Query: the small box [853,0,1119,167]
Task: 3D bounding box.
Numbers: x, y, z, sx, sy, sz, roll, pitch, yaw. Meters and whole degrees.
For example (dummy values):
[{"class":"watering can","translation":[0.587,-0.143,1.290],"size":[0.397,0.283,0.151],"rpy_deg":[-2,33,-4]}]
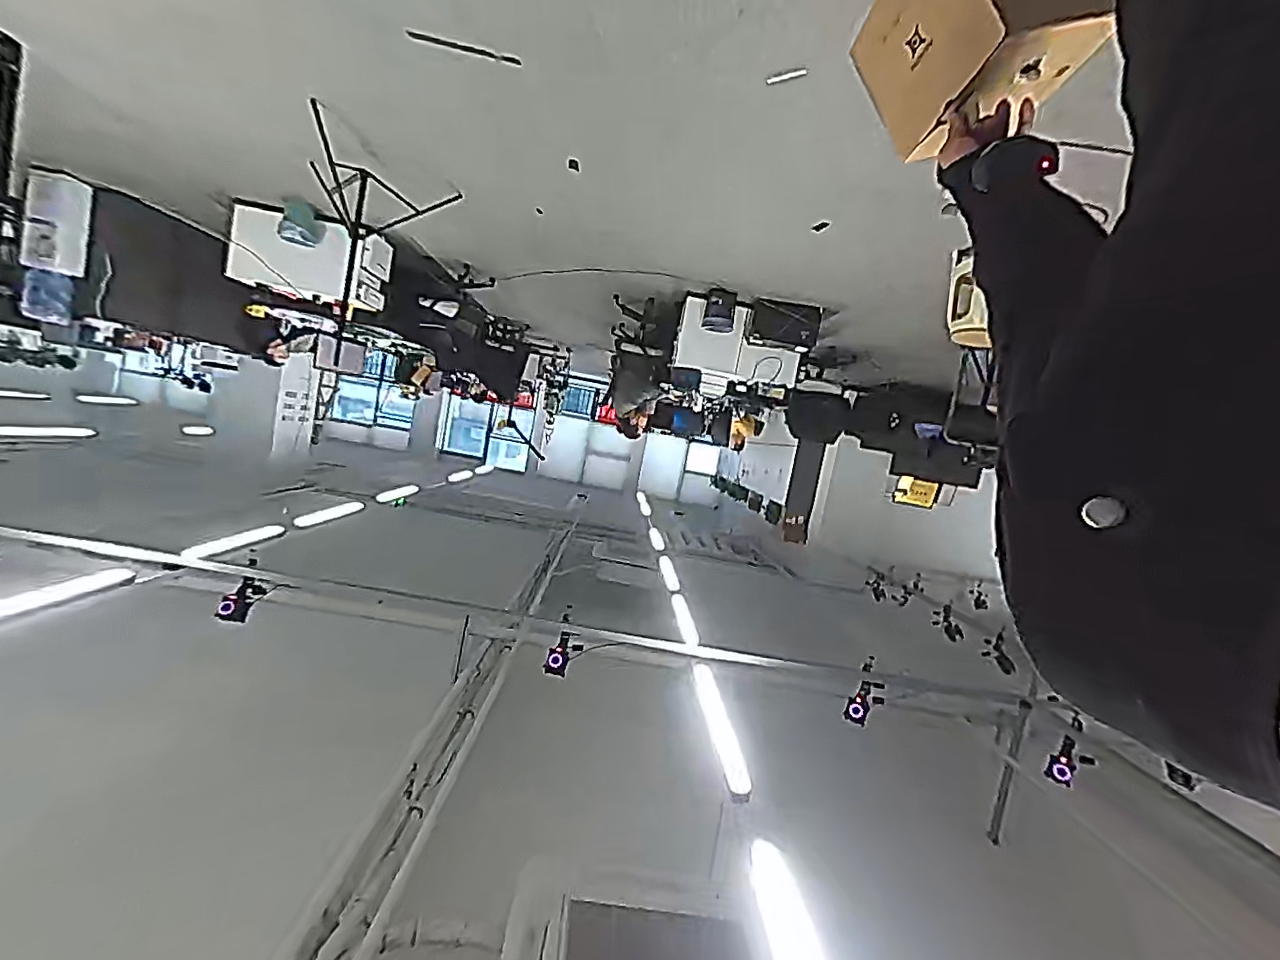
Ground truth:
[{"class":"small box","translation":[0.393,-0.514,0.633],"size":[0.176,0.179,0.168],"rpy_deg":[-18,172,-13]}]
